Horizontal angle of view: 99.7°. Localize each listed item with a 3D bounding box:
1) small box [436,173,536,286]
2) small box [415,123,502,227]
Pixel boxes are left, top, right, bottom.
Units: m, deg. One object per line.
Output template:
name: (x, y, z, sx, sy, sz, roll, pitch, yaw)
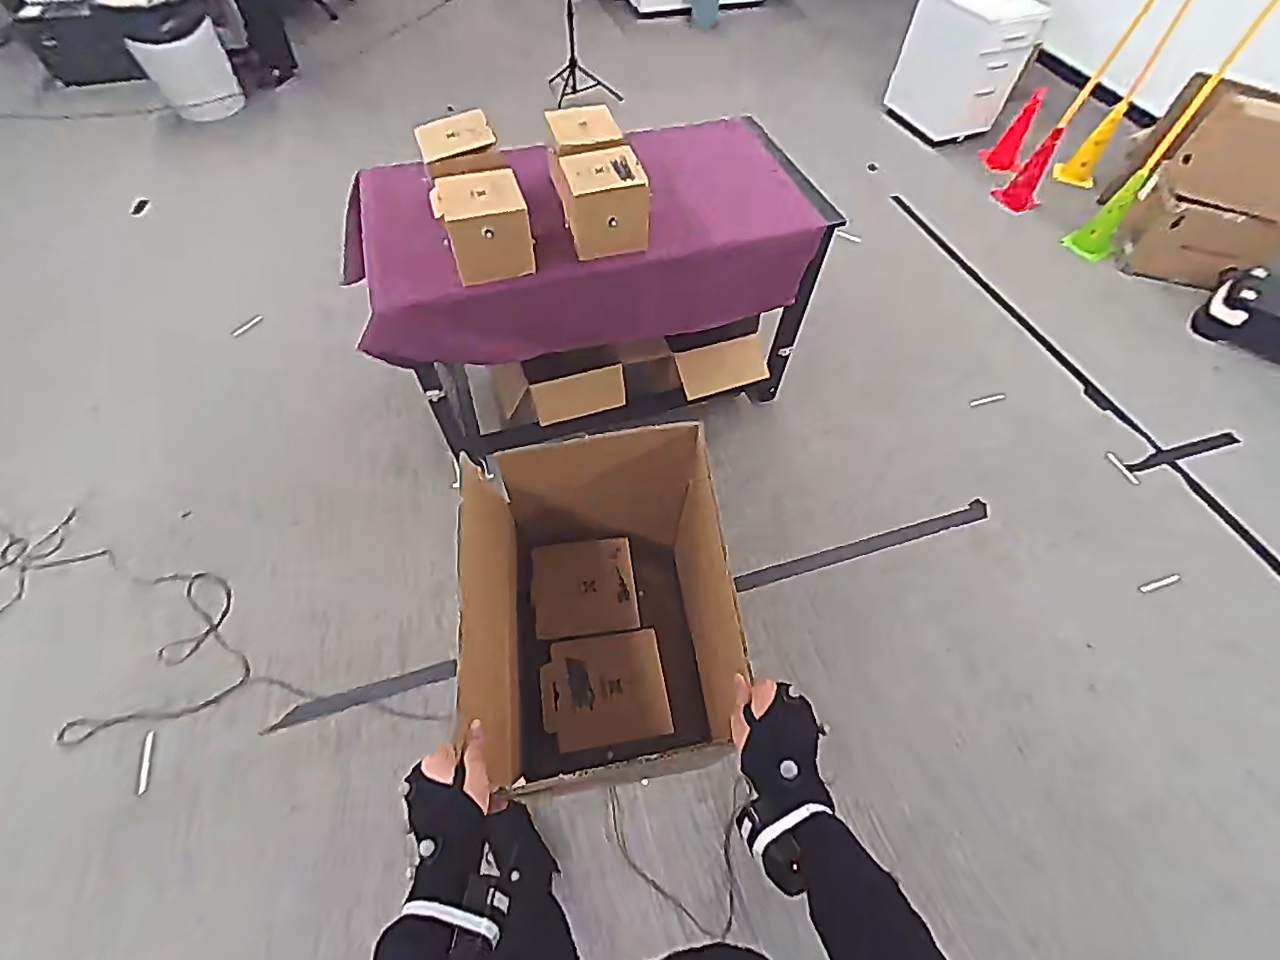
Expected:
small box: (-0.350, -0.570, 1.243, 0.179, 0.176, 0.168, -15, 60, -12)
small box: (-0.441, -0.761, 1.359, 0.179, 0.176, 0.168, -17, 60, -13)
